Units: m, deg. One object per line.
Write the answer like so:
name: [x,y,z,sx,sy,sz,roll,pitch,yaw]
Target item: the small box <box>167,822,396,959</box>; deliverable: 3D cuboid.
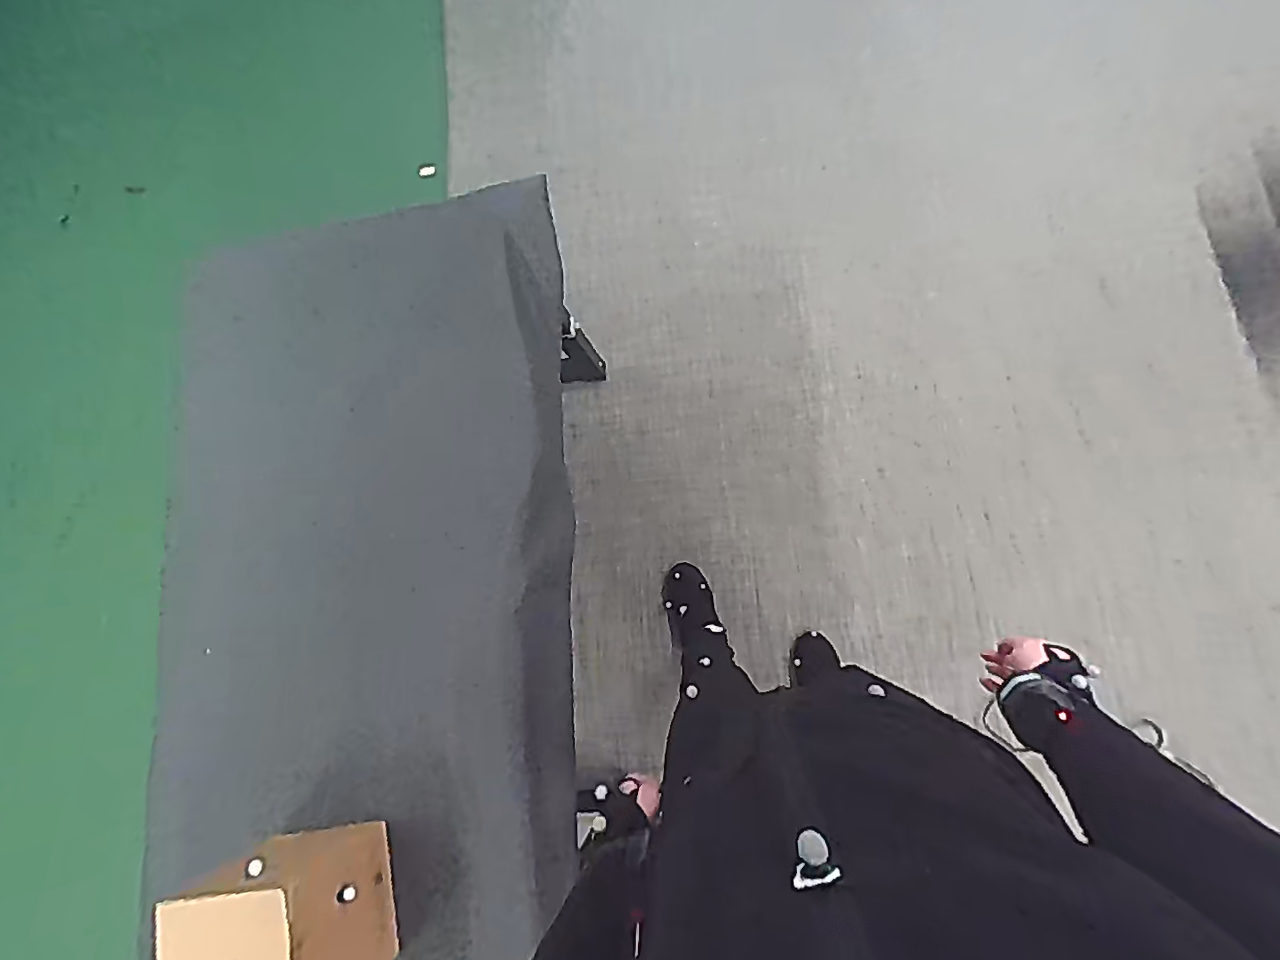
small box: [-0.423,0.549,0.663,0.179,0.176,0.168,-14,77,10]
